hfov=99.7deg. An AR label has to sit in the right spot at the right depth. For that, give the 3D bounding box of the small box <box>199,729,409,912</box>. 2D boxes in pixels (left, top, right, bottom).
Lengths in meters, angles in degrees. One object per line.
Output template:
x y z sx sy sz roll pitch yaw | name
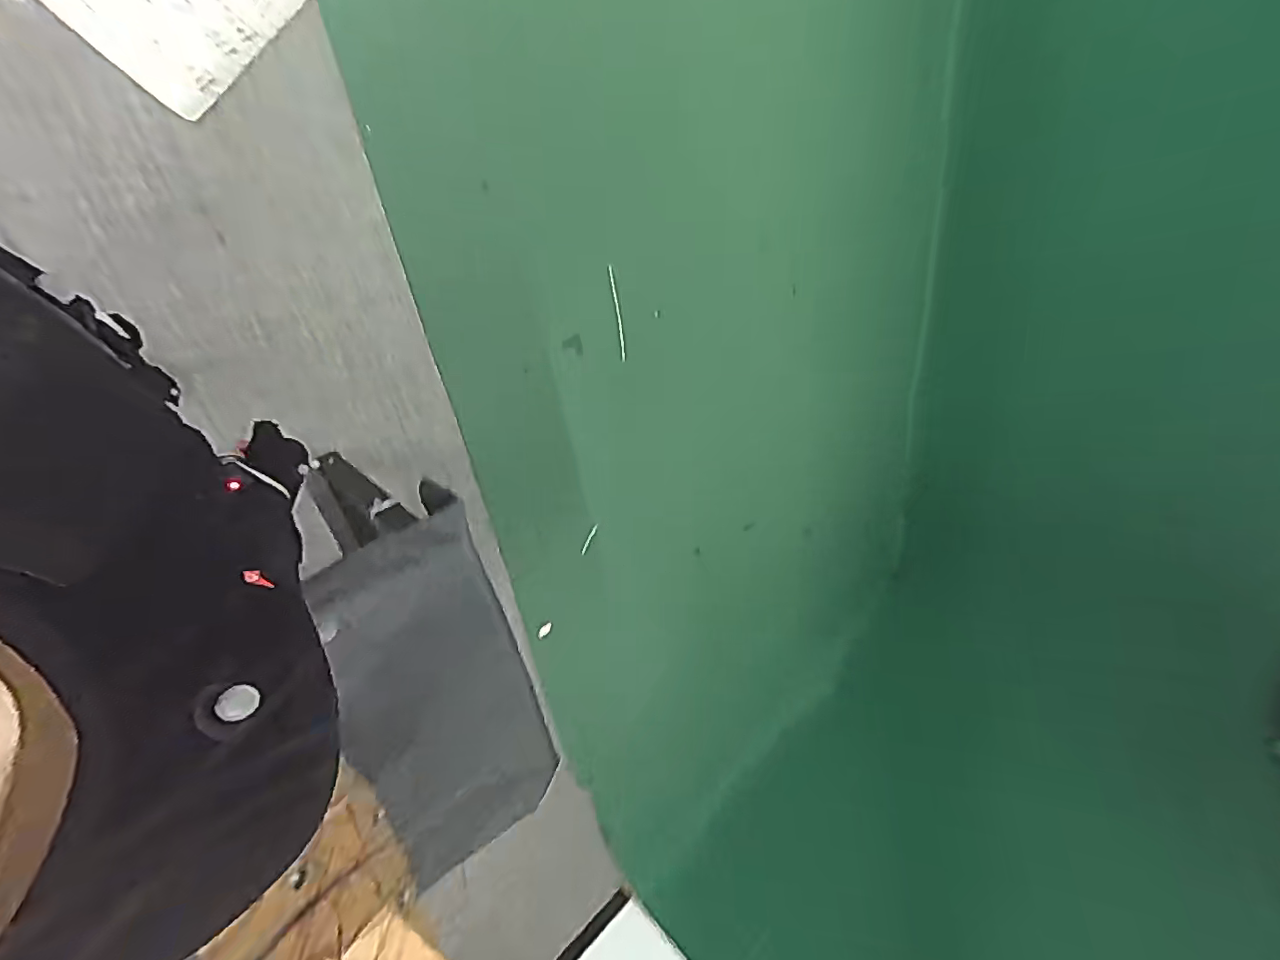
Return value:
-0.452 0.482 0.733 0.168 0.176 0.179 -35 127 -30 | small box

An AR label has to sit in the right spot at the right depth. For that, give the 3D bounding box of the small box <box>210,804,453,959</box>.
-0.346 0.519 0.616 0.168 0.176 0.179 -34 127 -30 | small box
